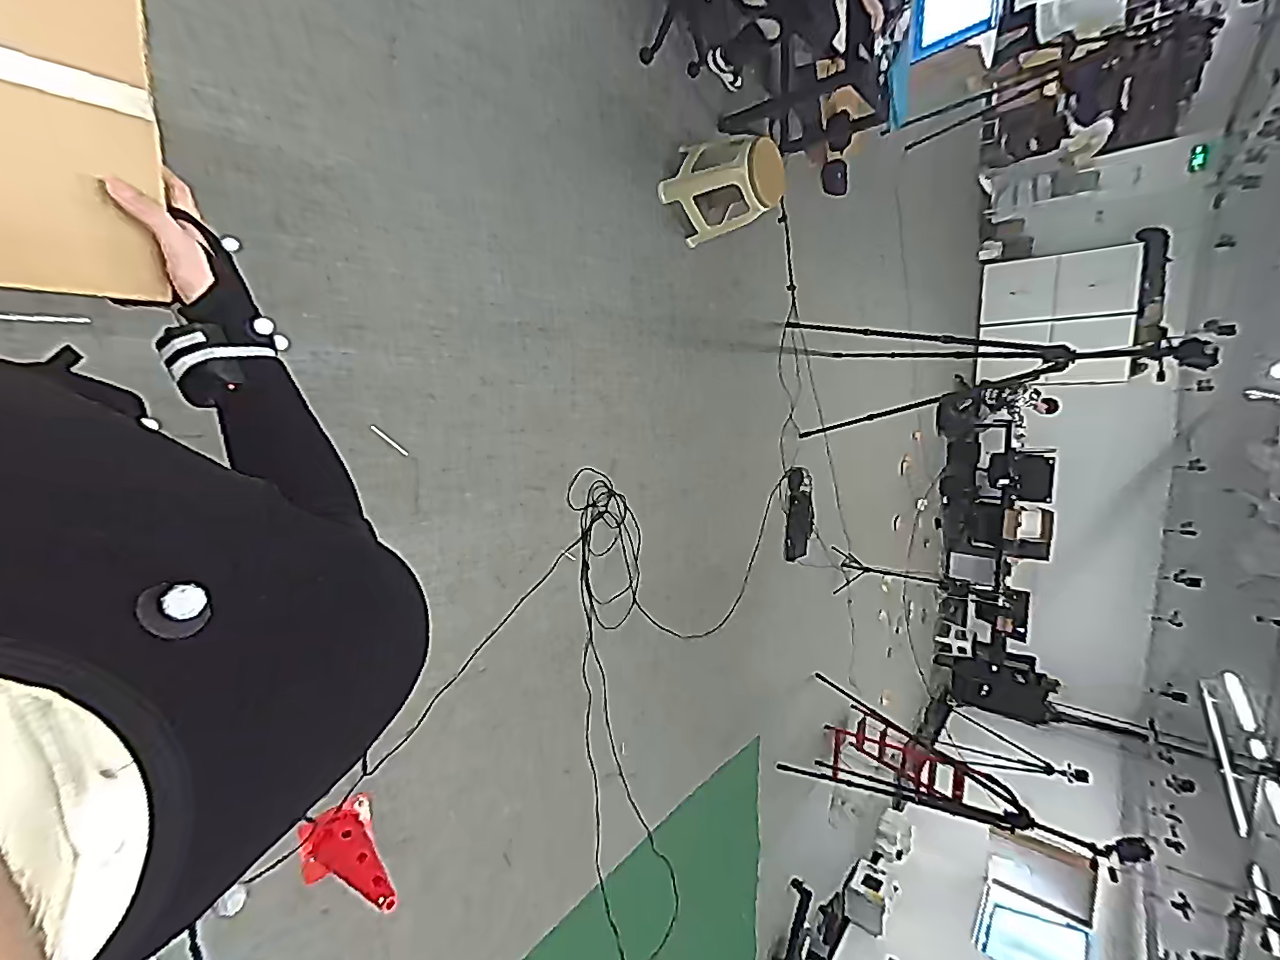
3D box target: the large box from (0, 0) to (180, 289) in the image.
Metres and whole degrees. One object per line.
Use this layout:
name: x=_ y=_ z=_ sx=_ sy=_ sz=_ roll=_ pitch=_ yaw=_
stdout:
large box: x=-0.653 y=-0.336 z=0.406 sx=0.408 sy=0.320 sz=0.320 roll=-12 pitch=117 yaw=-48
